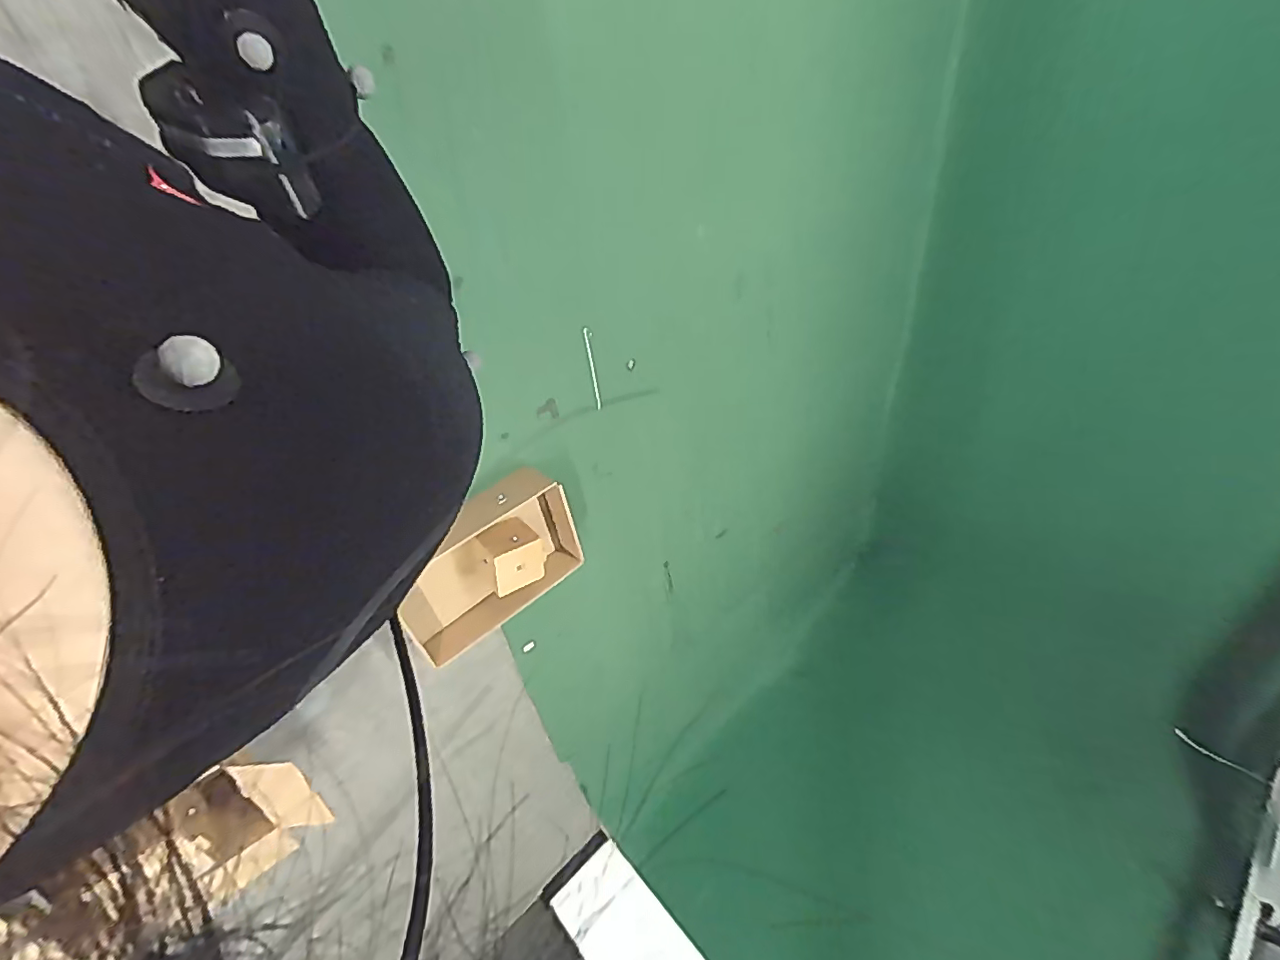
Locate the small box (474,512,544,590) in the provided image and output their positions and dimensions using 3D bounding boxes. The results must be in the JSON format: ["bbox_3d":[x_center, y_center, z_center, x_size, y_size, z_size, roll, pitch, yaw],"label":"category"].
[{"bbox_3d":[-0.445,0.234,1.818,0.179,0.176,0.168,-23,129,-35],"label":"small box"}]

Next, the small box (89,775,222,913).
[{"bbox_3d":[-1.125,0.835,1.256,0.179,0.176,0.168,-31,131,-29],"label":"small box"}]
